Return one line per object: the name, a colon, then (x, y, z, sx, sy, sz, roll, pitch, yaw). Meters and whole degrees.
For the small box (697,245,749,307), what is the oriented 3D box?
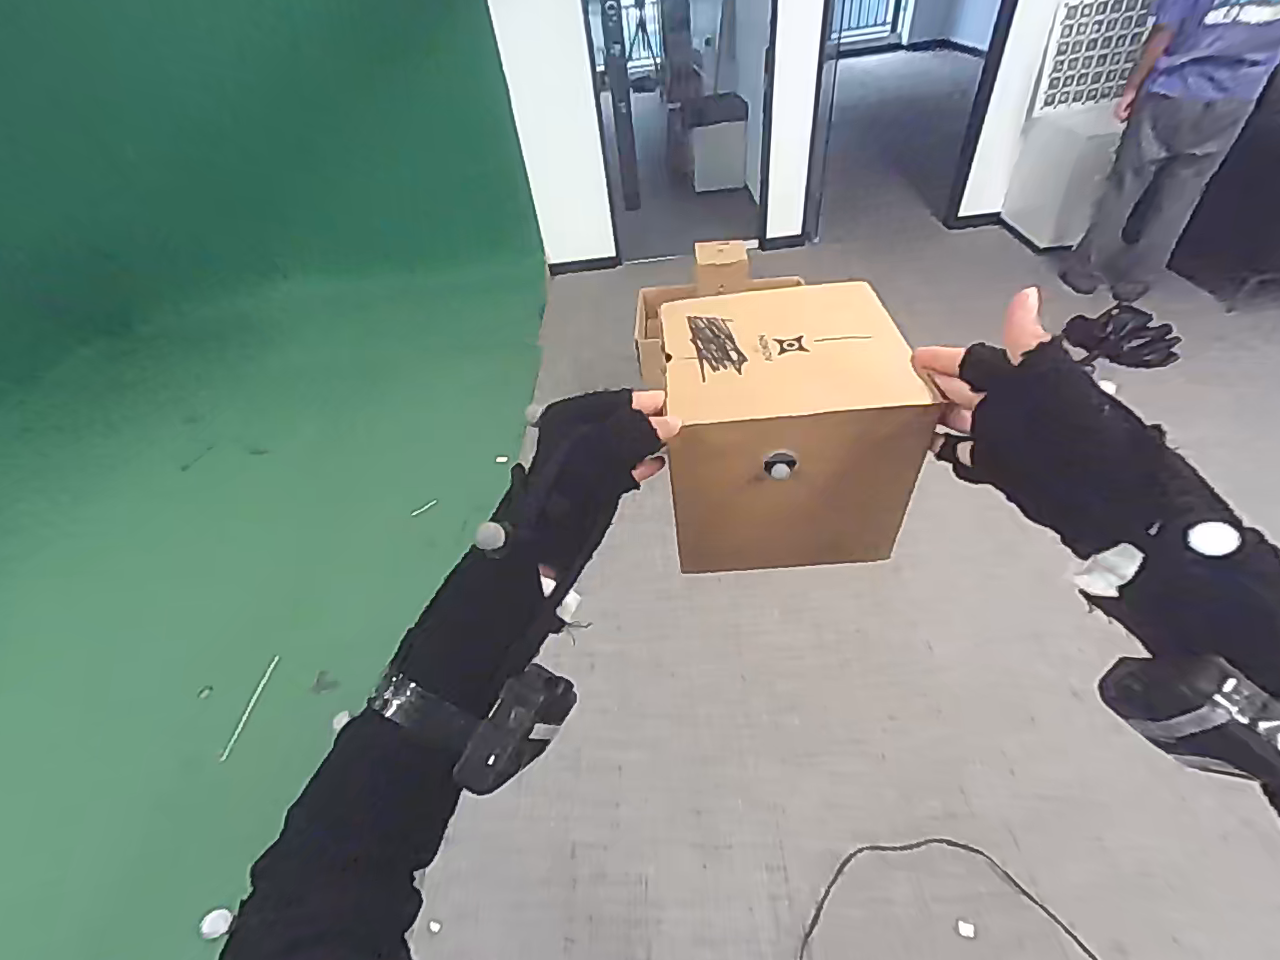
small box: (0.283, -0.687, 1.862, 0.168, 0.176, 0.179, -2, 44, 4)

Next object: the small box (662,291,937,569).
small box: (0.114, -0.038, 0.460, 0.179, 0.176, 0.168, -4, 45, 5)
